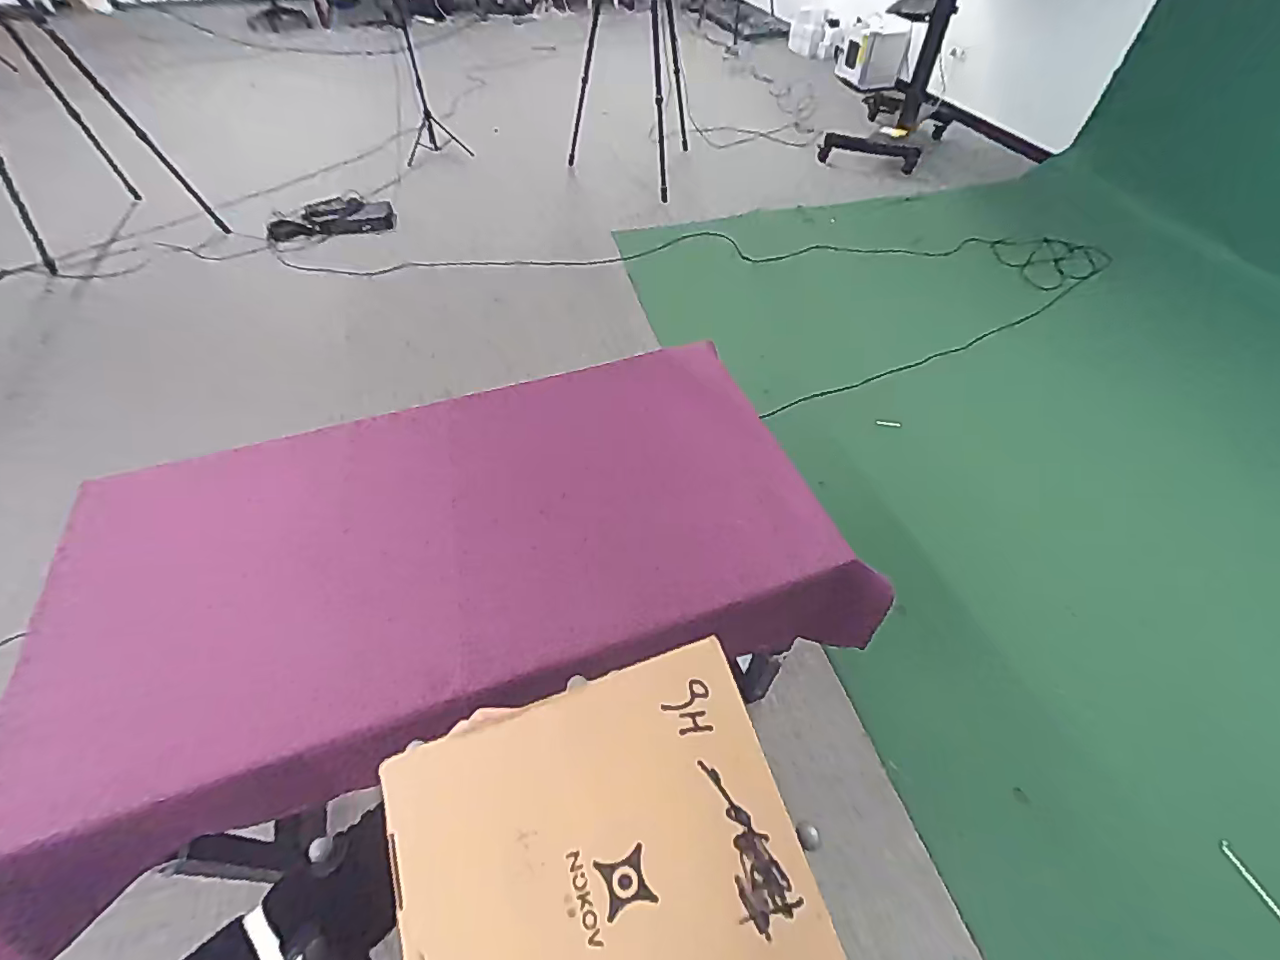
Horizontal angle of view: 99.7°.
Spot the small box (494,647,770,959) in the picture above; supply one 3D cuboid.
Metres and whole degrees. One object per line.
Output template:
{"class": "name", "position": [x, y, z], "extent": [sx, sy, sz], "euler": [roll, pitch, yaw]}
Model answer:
{"class": "small box", "position": [-0.011, 0.267, 0.471], "extent": [0.168, 0.176, 0.179], "euler": [-18, 67, -7]}
